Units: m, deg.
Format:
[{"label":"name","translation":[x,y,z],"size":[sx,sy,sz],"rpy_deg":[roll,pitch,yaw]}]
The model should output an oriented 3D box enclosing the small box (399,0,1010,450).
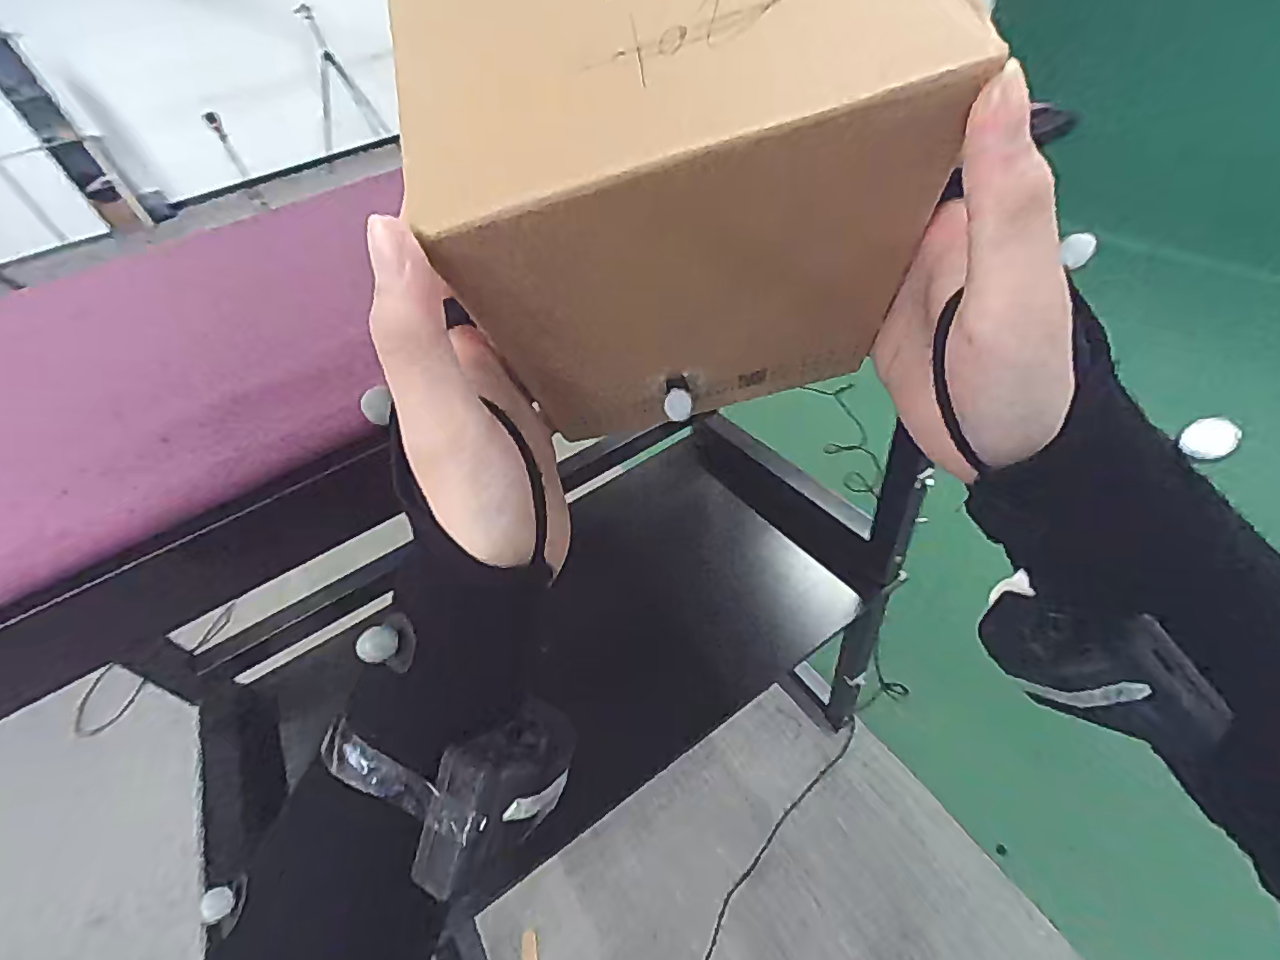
[{"label":"small box","translation":[0.013,-0.137,0.248],"size":[0.168,0.176,0.179],"rpy_deg":[-14,70,5]}]
